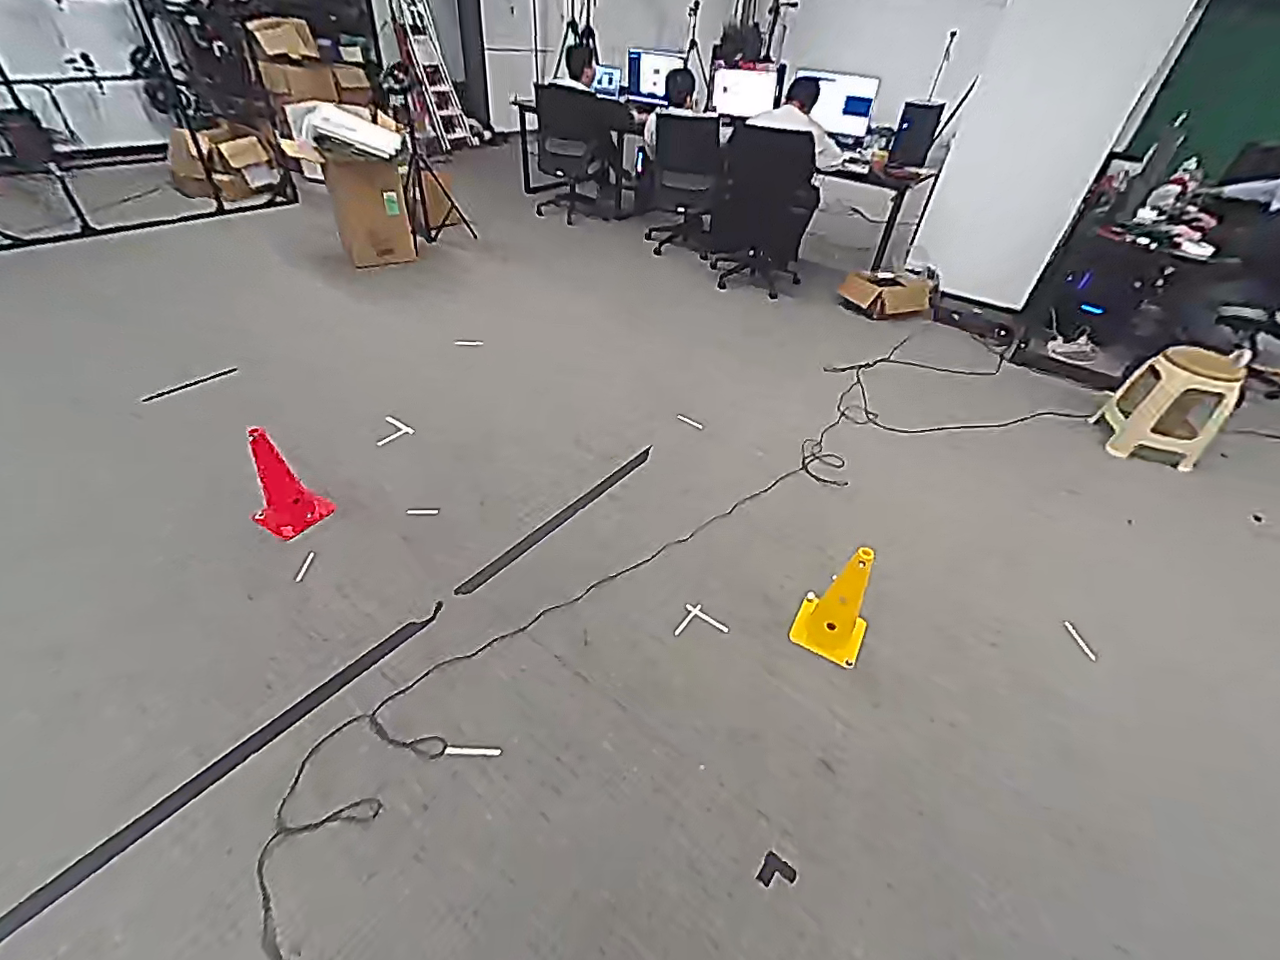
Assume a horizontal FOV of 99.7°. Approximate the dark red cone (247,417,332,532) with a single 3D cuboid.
[{"bbox_3d":[-1.196,-0.032,1.768,0.201,0.394,0.202,24,43,20],"label":"dark red cone"}]
